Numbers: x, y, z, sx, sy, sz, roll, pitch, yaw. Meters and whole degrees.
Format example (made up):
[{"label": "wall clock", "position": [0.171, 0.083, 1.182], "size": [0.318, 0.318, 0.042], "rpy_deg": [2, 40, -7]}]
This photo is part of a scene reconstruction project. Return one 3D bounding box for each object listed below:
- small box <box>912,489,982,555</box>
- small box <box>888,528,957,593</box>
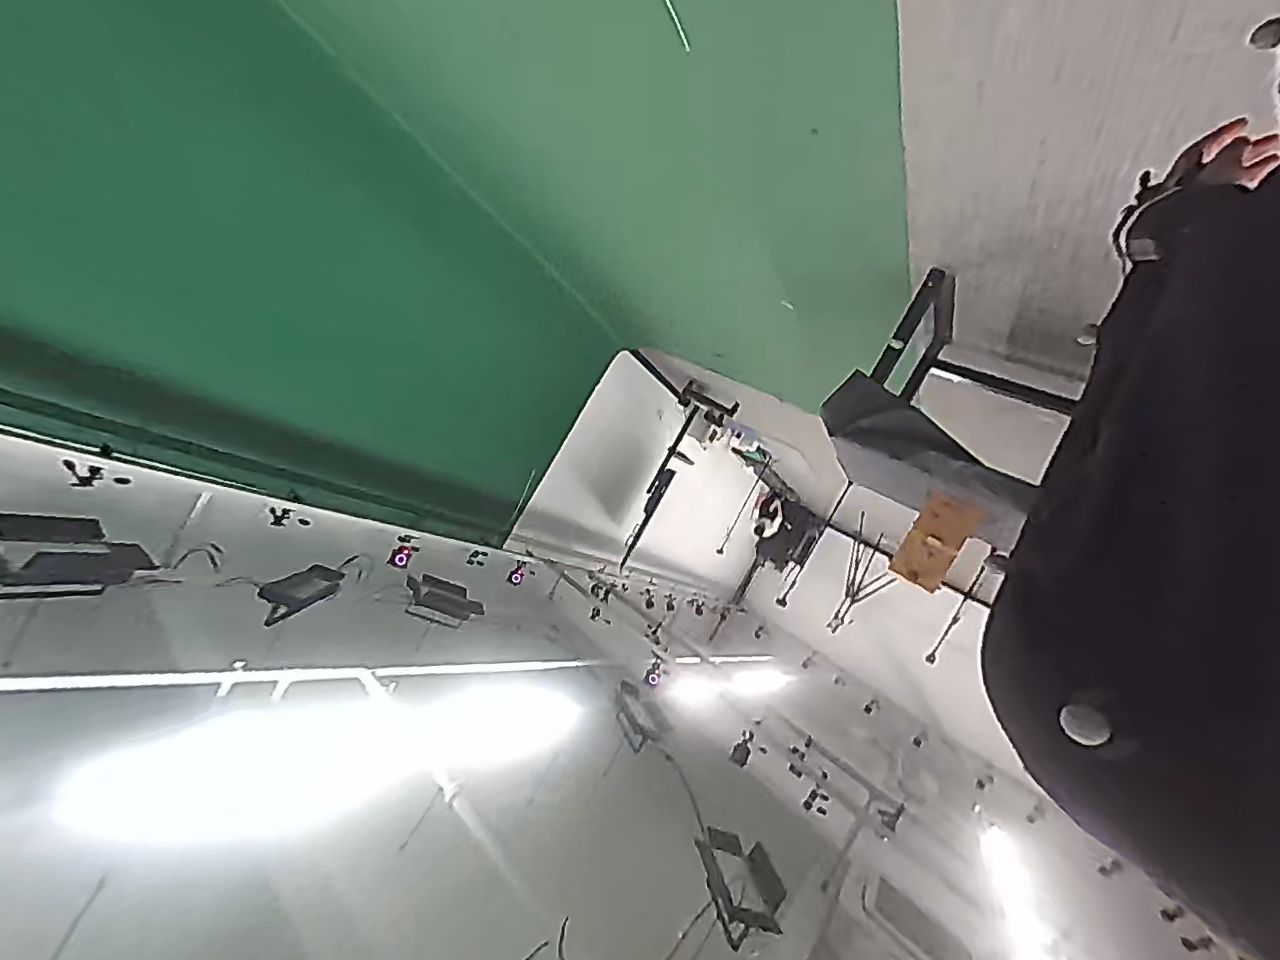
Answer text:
[{"label": "small box", "position": [1.102, 0.150, 1.948], "size": [0.168, 0.176, 0.179], "rpy_deg": [32, -178, 30]}, {"label": "small box", "position": [1.024, 0.292, 1.966], "size": [0.168, 0.176, 0.179], "rpy_deg": [32, 180, 29]}]
